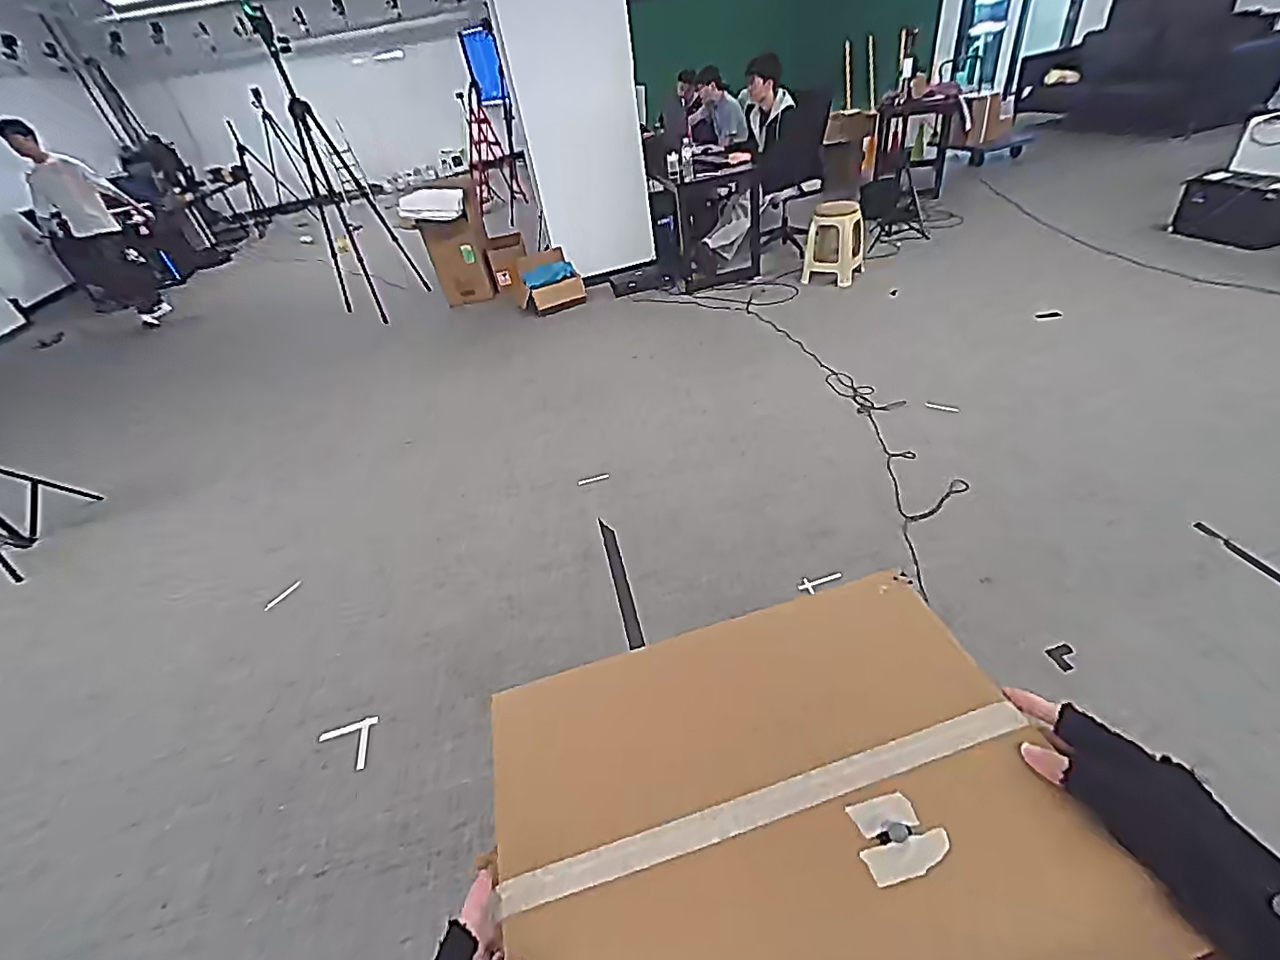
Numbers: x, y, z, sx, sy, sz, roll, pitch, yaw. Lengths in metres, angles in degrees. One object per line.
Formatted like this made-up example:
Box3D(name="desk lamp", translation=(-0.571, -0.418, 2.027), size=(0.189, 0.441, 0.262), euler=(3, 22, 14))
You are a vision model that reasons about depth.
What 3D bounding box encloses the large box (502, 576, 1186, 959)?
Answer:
Box3D(name="large box", translation=(0.119, 0.354, 0.504), size=(0.408, 0.320, 0.320), euler=(-15, 41, -7))
